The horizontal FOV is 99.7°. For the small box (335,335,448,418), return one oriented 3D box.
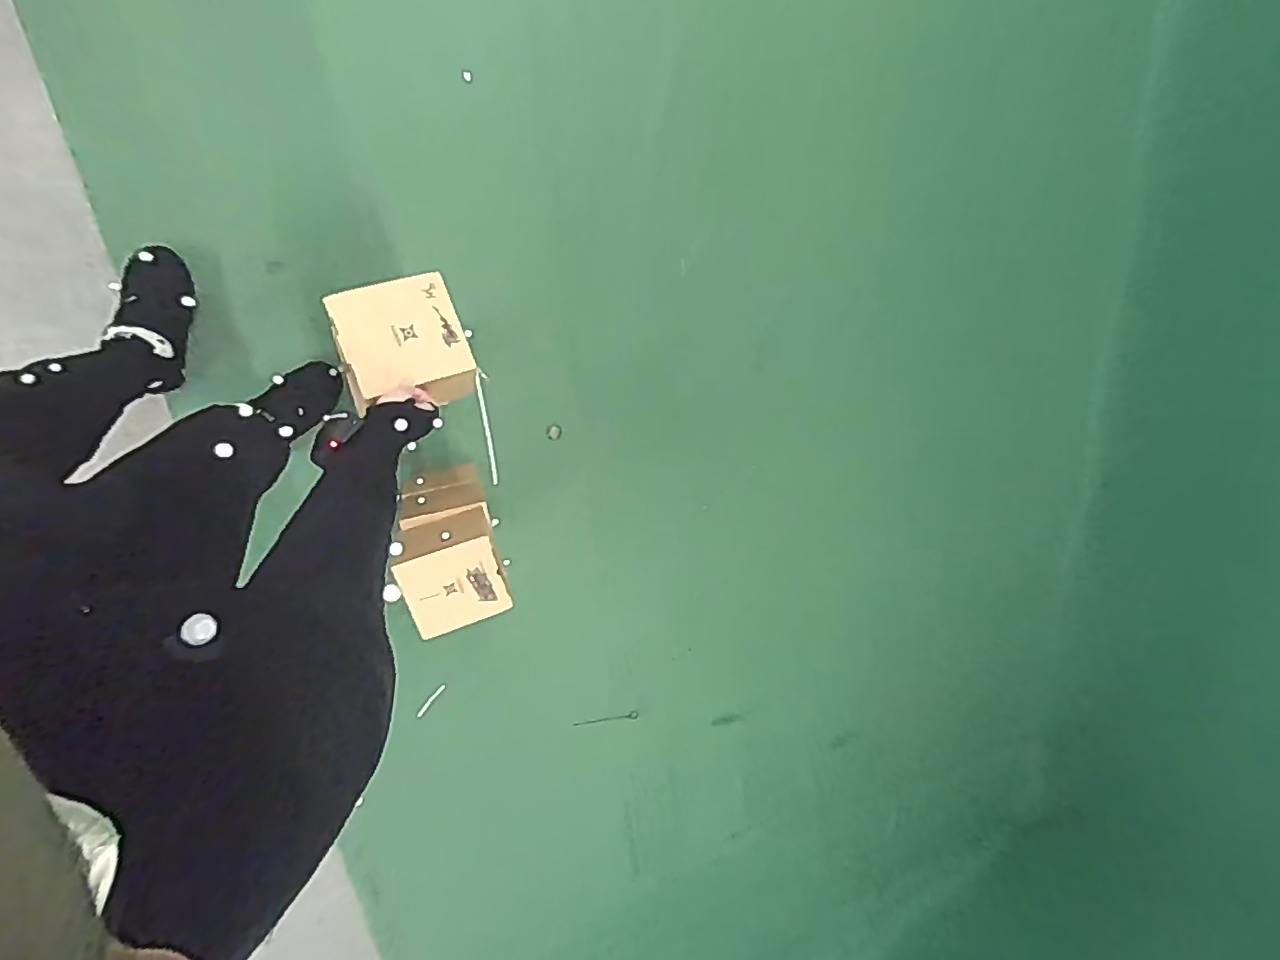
[{"bbox_3d":[-0.491,-0.234,1.084,0.168,0.176,0.179,-14,110,-17],"label":"small box"}]

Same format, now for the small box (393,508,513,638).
[{"bbox_3d":[-0.367,0.175,1.071,0.179,0.176,0.168,-18,112,-13],"label":"small box"}]

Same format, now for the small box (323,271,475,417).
[{"bbox_3d":[-0.385,-0.215,0.892,0.179,0.176,0.168,-22,93,-19],"label":"small box"}]

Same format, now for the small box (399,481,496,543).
[{"bbox_3d":[-0.423,0.115,1.213,0.179,0.176,0.168,-13,111,-16],"label":"small box"}]
